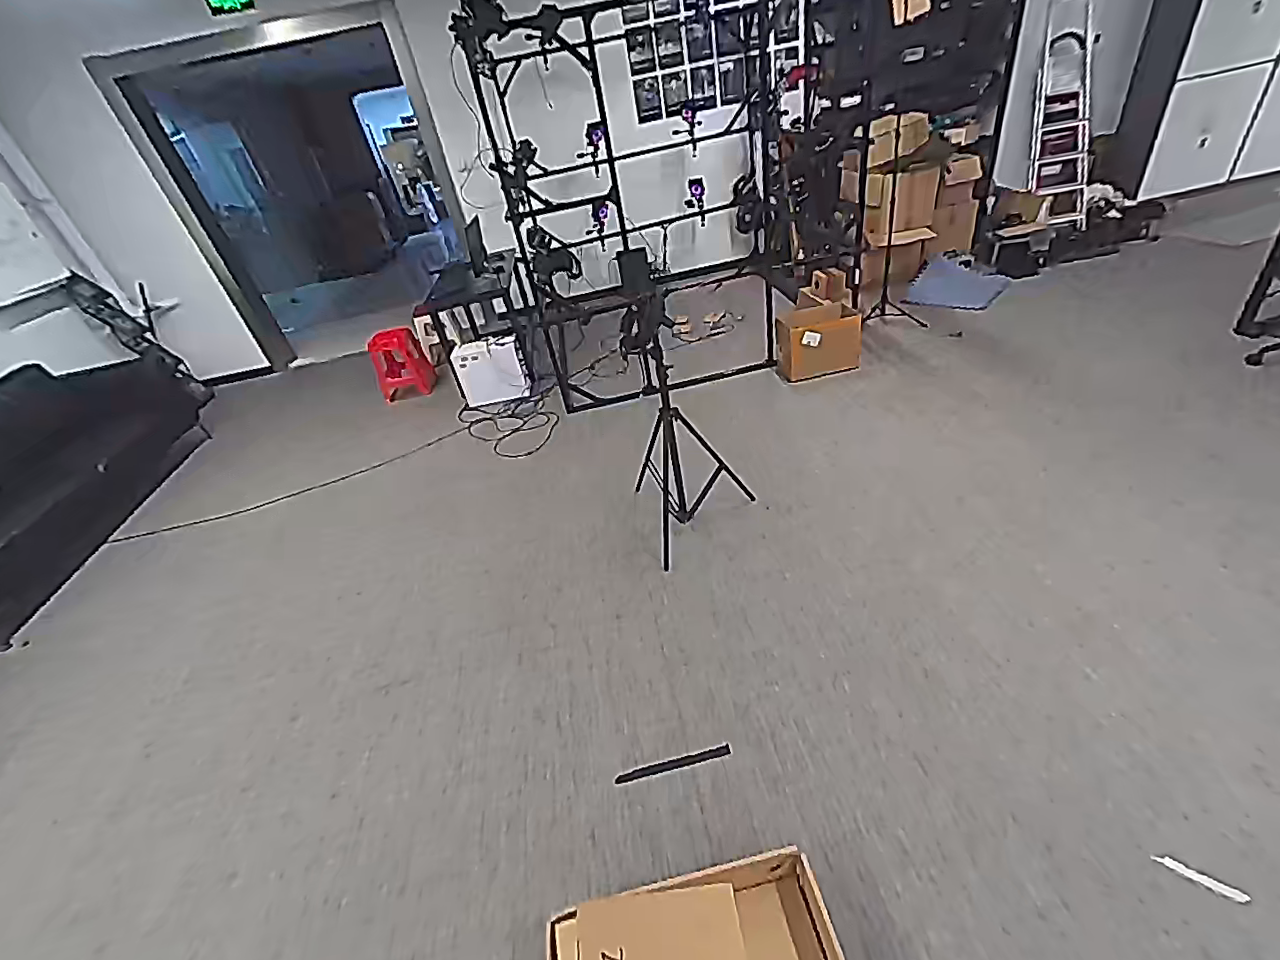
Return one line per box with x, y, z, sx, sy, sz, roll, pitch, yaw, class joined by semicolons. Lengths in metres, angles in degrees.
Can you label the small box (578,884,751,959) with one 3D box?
0.027;0.562;0.574;0.179;0.176;0.168;-4;37;-5;small box
